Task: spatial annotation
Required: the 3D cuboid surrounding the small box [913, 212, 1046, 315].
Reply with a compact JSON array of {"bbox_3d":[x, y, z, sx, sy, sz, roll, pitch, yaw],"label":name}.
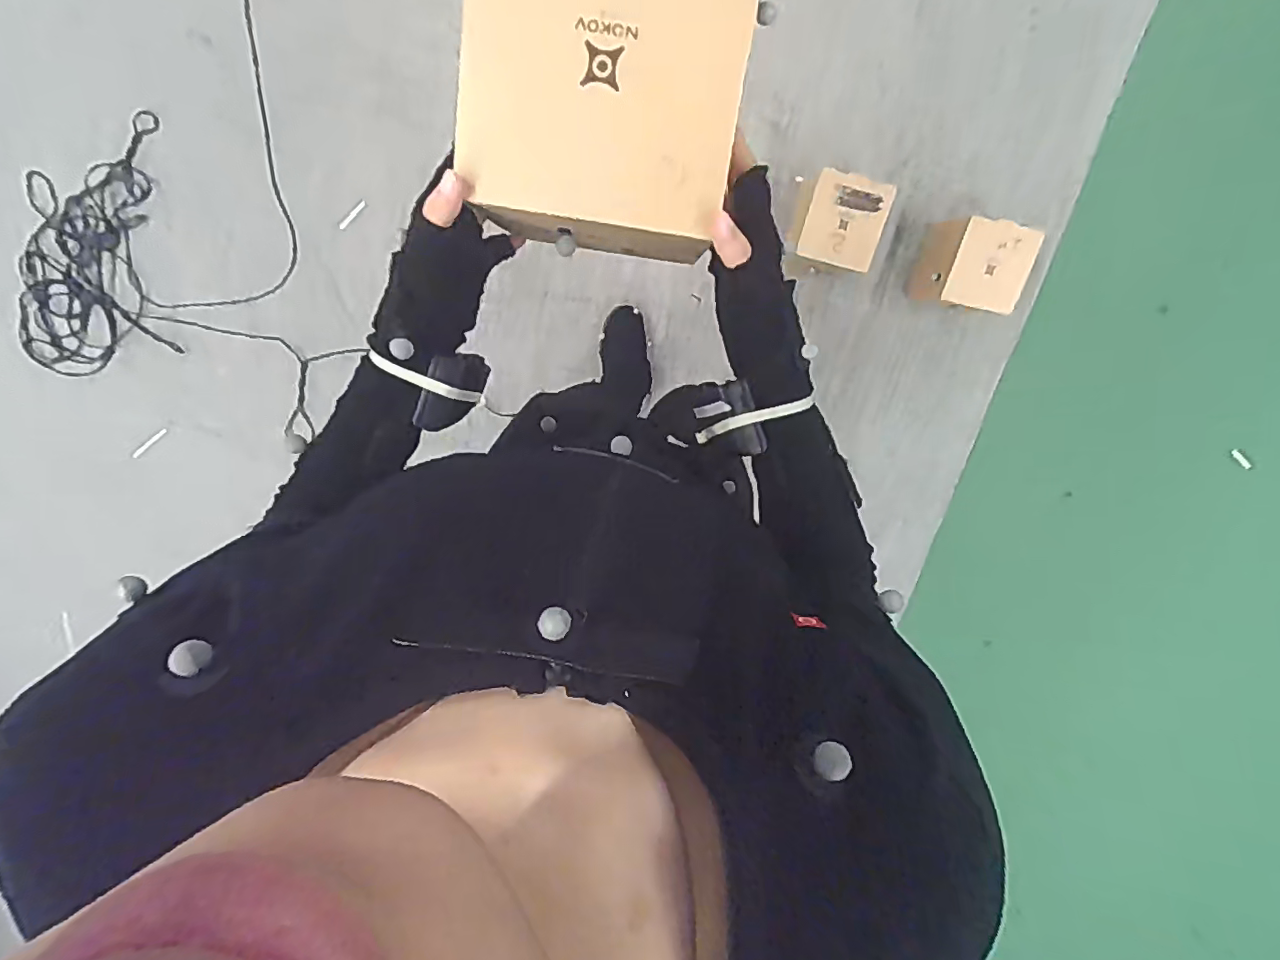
[{"bbox_3d":[0.750,-0.483,1.220,0.168,0.176,0.179,12,109,-3],"label":"small box"}]
